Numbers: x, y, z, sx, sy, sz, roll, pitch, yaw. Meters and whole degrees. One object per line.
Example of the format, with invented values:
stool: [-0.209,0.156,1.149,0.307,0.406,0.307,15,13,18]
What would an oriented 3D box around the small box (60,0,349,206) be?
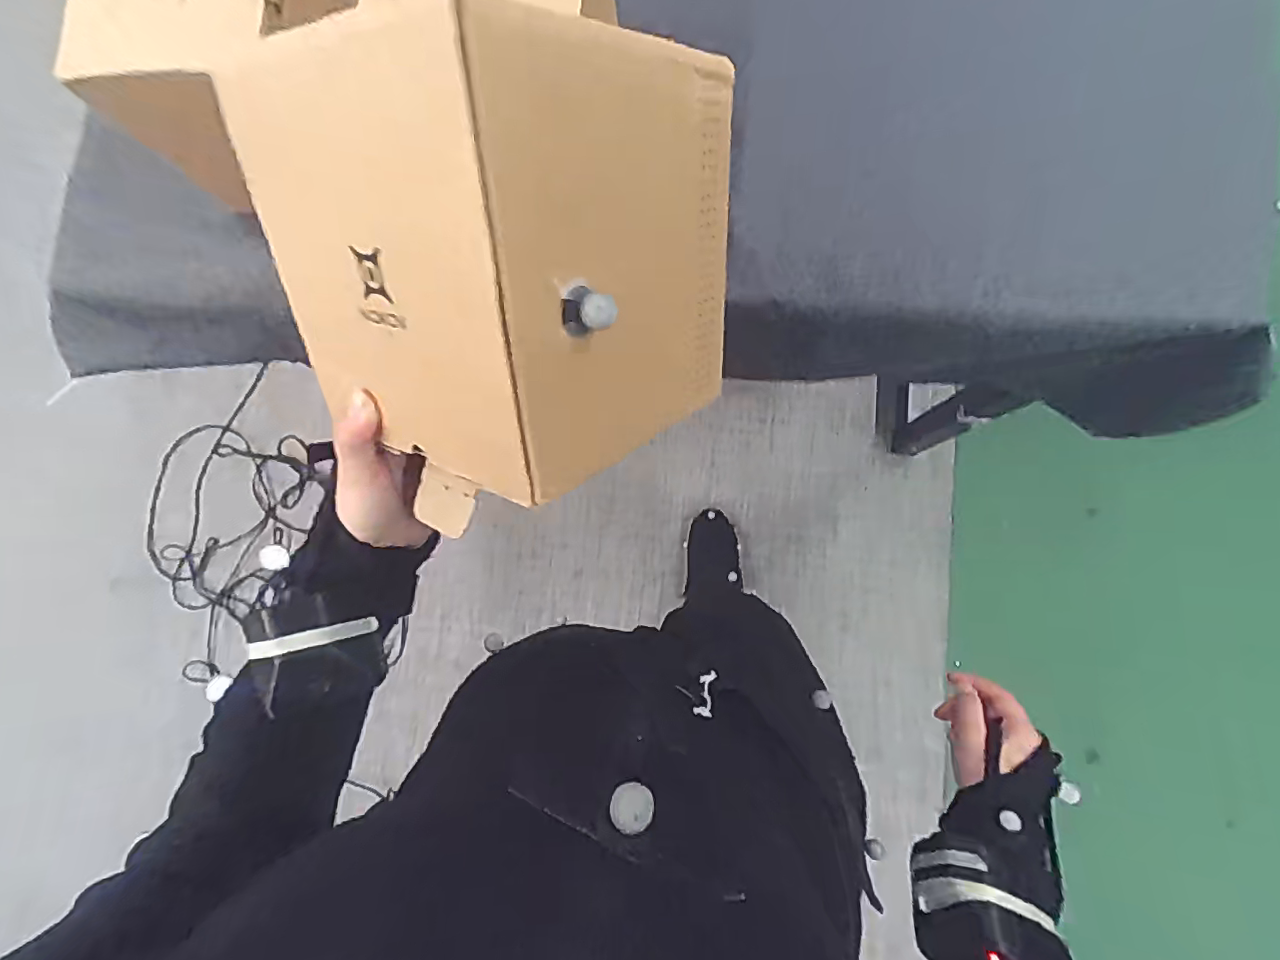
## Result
small box: [-0.360,-0.383,0.506,0.179,0.176,0.168,0,81,6]

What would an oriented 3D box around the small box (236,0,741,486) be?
small box: [-0.057,-0.127,0.289,0.168,0.176,0.179,18,126,30]
